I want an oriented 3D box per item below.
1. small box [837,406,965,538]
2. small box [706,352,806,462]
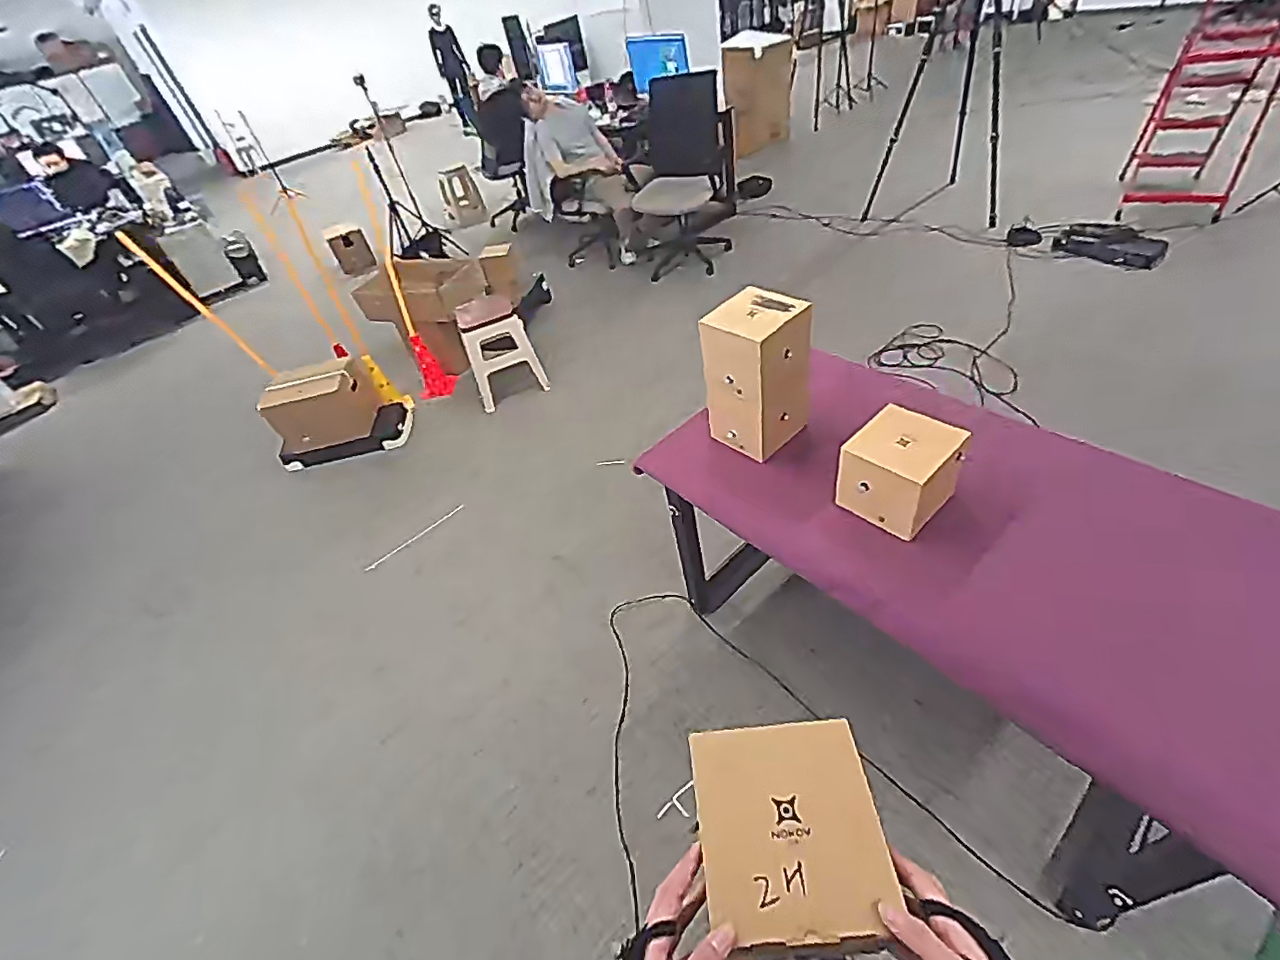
[{"bbox_3d":[0.515,-0.014,1.089,0.179,0.176,0.168,-37,48,-24],"label":"small box"},{"bbox_3d":[0.279,-0.176,1.309,0.179,0.176,0.168,-38,49,-23],"label":"small box"}]
